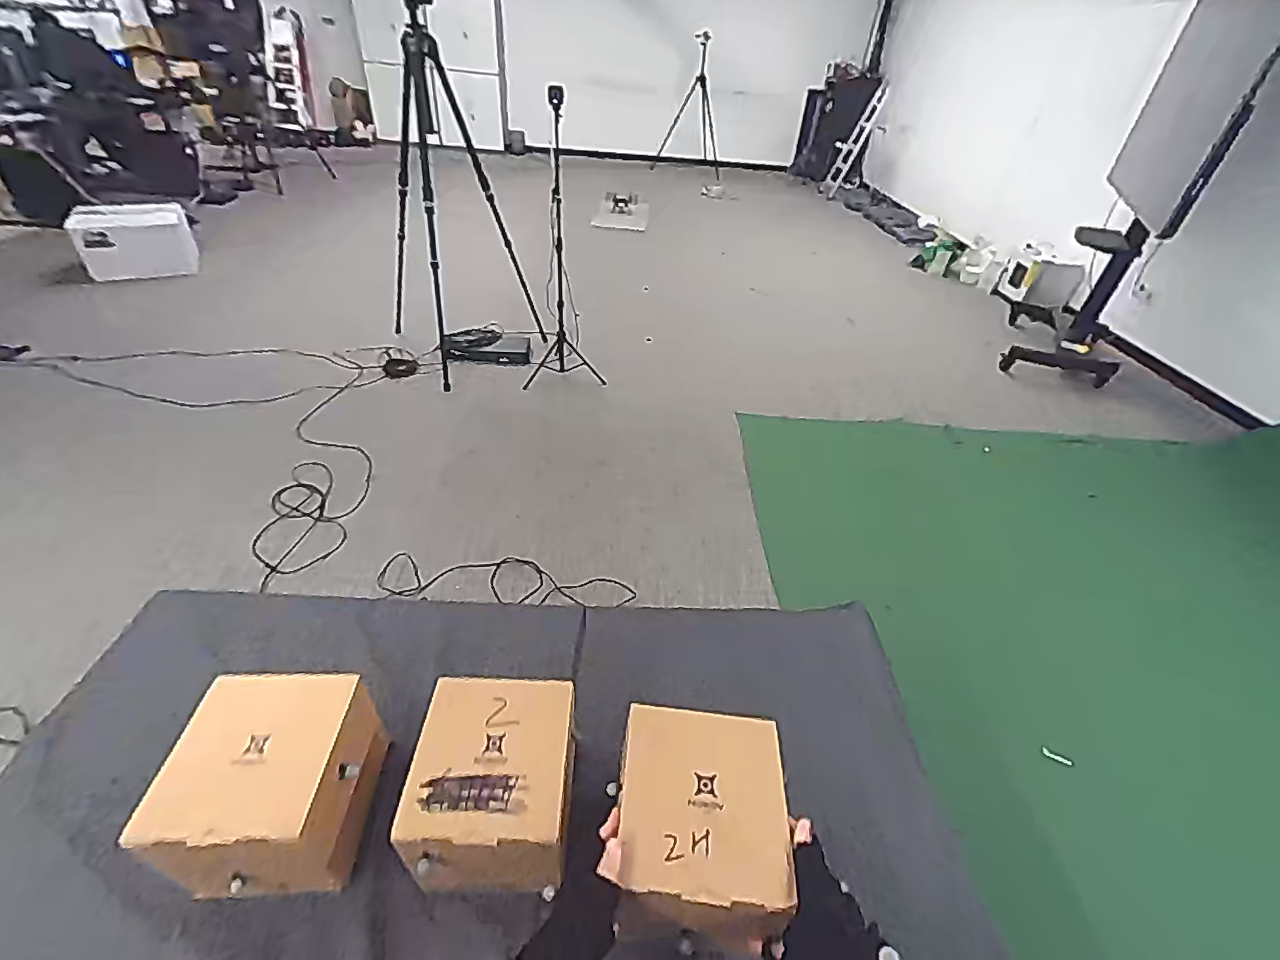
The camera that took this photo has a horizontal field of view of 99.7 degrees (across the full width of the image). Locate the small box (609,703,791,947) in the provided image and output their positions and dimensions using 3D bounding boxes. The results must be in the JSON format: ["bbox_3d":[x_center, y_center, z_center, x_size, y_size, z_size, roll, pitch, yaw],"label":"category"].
[{"bbox_3d":[0.057,0.382,0.606,0.168,0.176,0.179,6,38,1],"label":"small box"}]

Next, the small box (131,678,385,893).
[{"bbox_3d":[-0.421,0.358,0.640,0.168,0.176,0.179,1,40,-5],"label":"small box"}]
